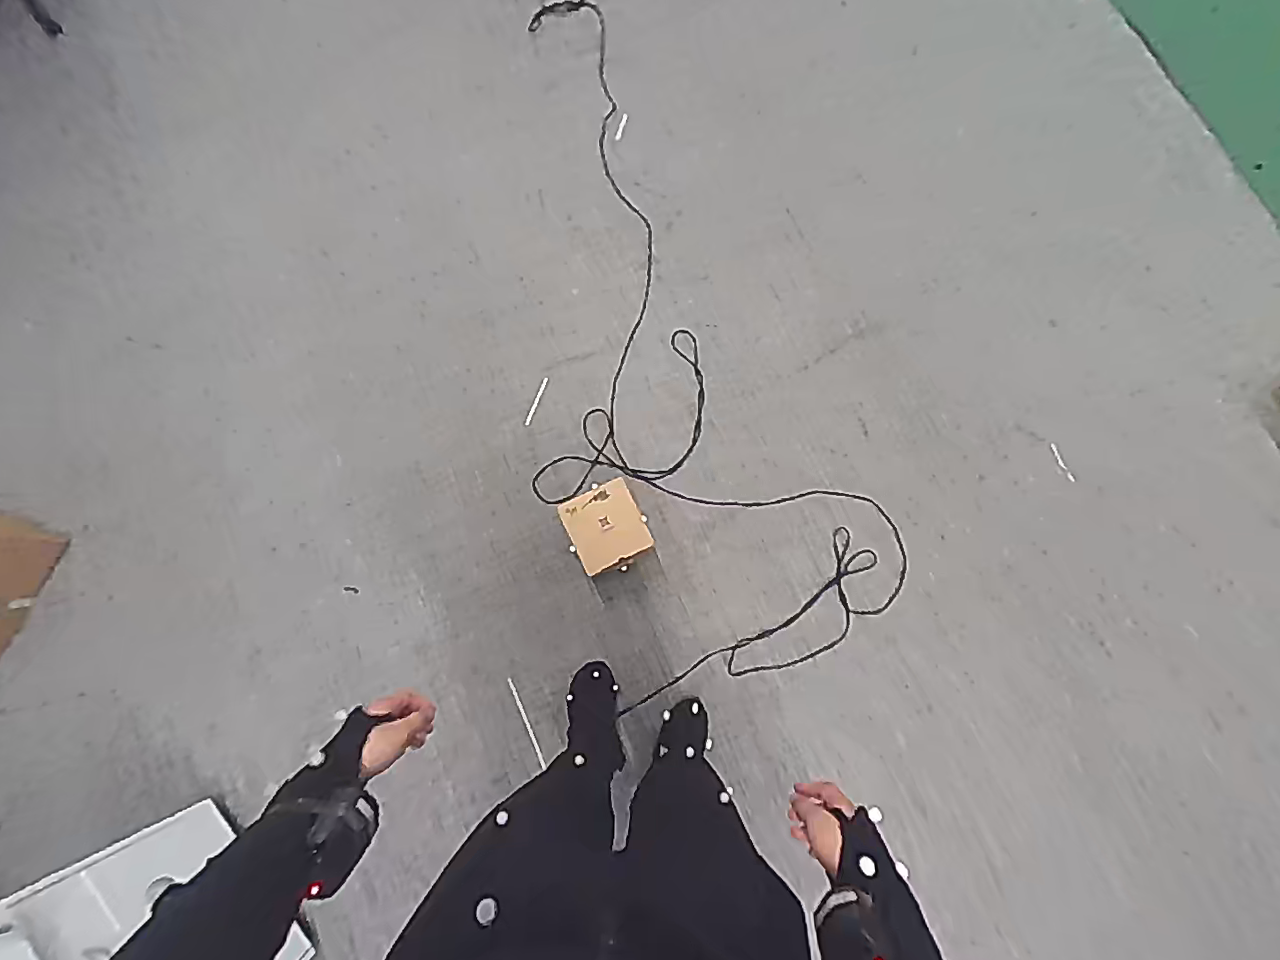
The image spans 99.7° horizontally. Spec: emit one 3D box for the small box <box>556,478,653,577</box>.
[{"bbox_3d":[-0.080,0.116,1.274,0.168,0.176,0.179,-25,81,-7],"label":"small box"}]
